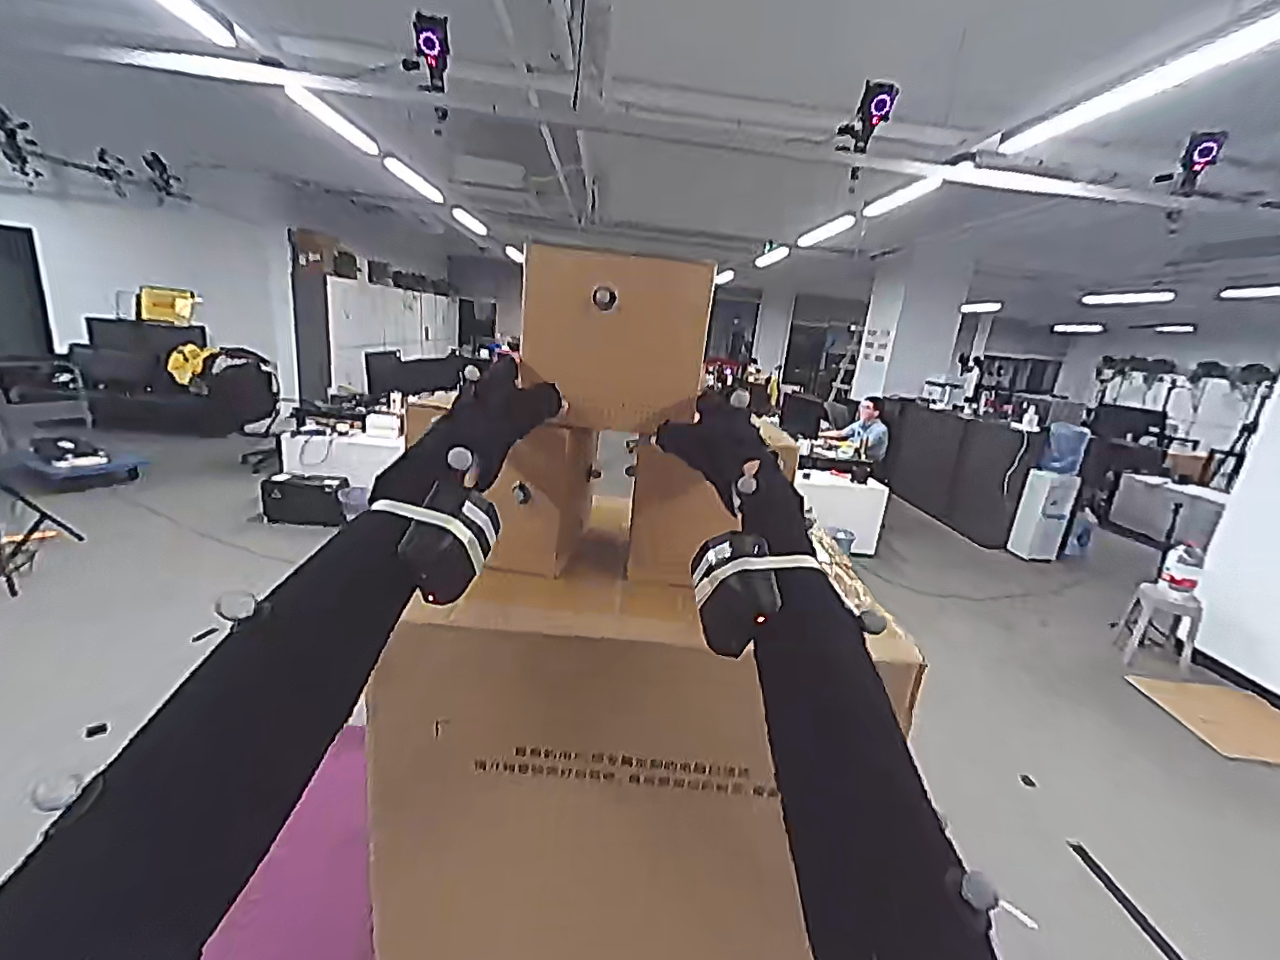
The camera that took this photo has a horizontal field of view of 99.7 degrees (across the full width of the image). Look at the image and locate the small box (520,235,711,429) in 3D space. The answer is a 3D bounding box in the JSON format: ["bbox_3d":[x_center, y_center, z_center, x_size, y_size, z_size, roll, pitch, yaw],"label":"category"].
[{"bbox_3d":[-0.027,-0.153,0.585,0.179,0.176,0.168,6,16,-1],"label":"small box"}]

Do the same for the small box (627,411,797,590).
[{"bbox_3d":[0.074,0.013,0.650,0.168,0.176,0.179,5,16,-1],"label":"small box"}]
